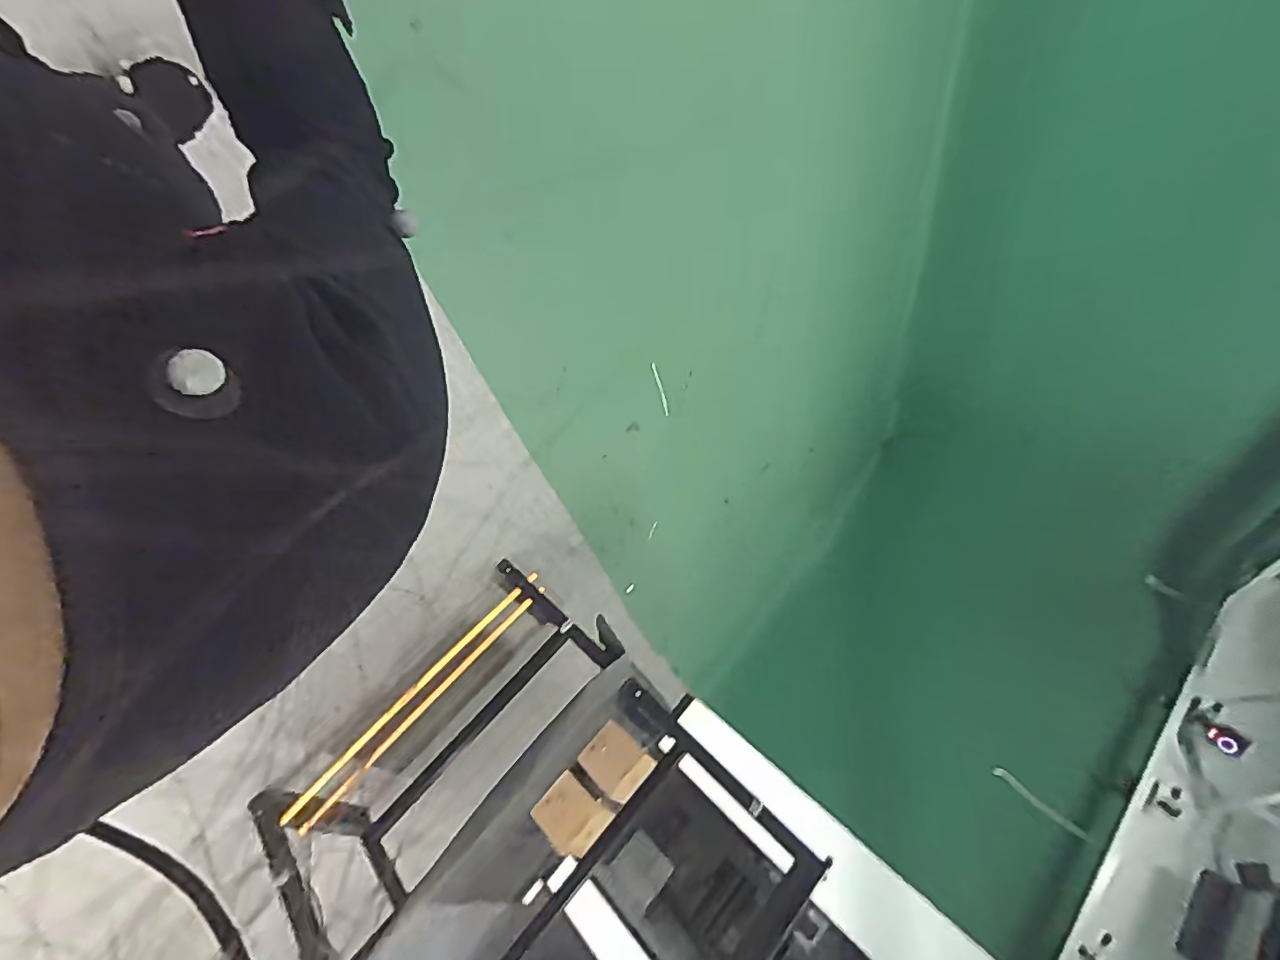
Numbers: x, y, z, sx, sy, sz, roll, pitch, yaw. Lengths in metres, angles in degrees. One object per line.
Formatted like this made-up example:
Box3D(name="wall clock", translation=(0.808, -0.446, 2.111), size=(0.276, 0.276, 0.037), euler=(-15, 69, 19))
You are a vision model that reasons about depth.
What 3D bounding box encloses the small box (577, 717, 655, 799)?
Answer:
Box3D(name="small box", translation=(-0.080, 0.923, 1.803), size=(0.168, 0.176, 0.179), euler=(-45, 144, -17))
